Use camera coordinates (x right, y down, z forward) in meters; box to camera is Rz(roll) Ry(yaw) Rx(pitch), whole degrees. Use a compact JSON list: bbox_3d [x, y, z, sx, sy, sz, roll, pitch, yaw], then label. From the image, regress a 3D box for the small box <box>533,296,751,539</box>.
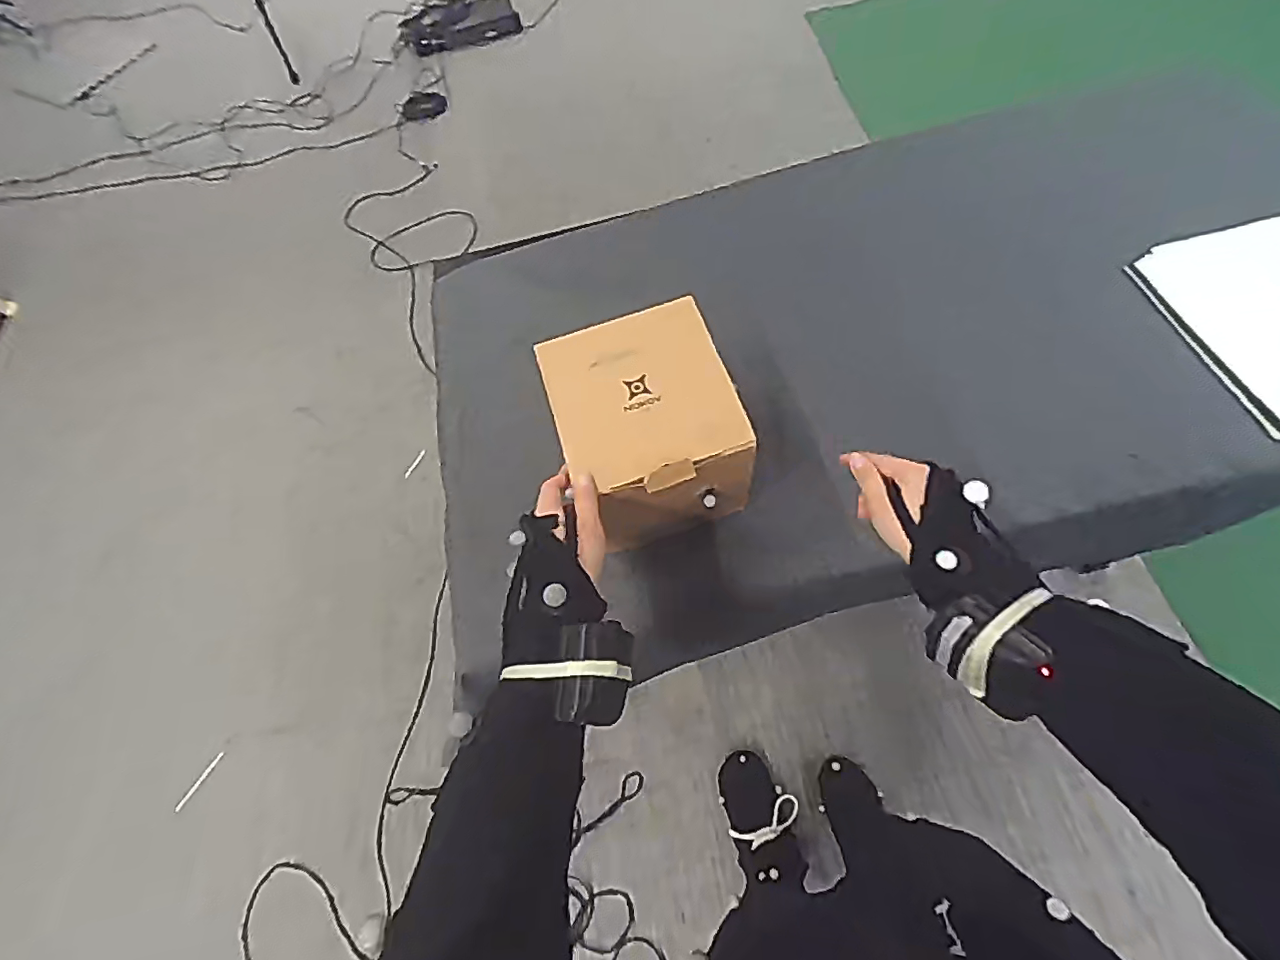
[{"bbox_3d":[0.005,-0.051,0.568,0.168,0.176,0.179,-18,65,-2],"label":"small box"}]
